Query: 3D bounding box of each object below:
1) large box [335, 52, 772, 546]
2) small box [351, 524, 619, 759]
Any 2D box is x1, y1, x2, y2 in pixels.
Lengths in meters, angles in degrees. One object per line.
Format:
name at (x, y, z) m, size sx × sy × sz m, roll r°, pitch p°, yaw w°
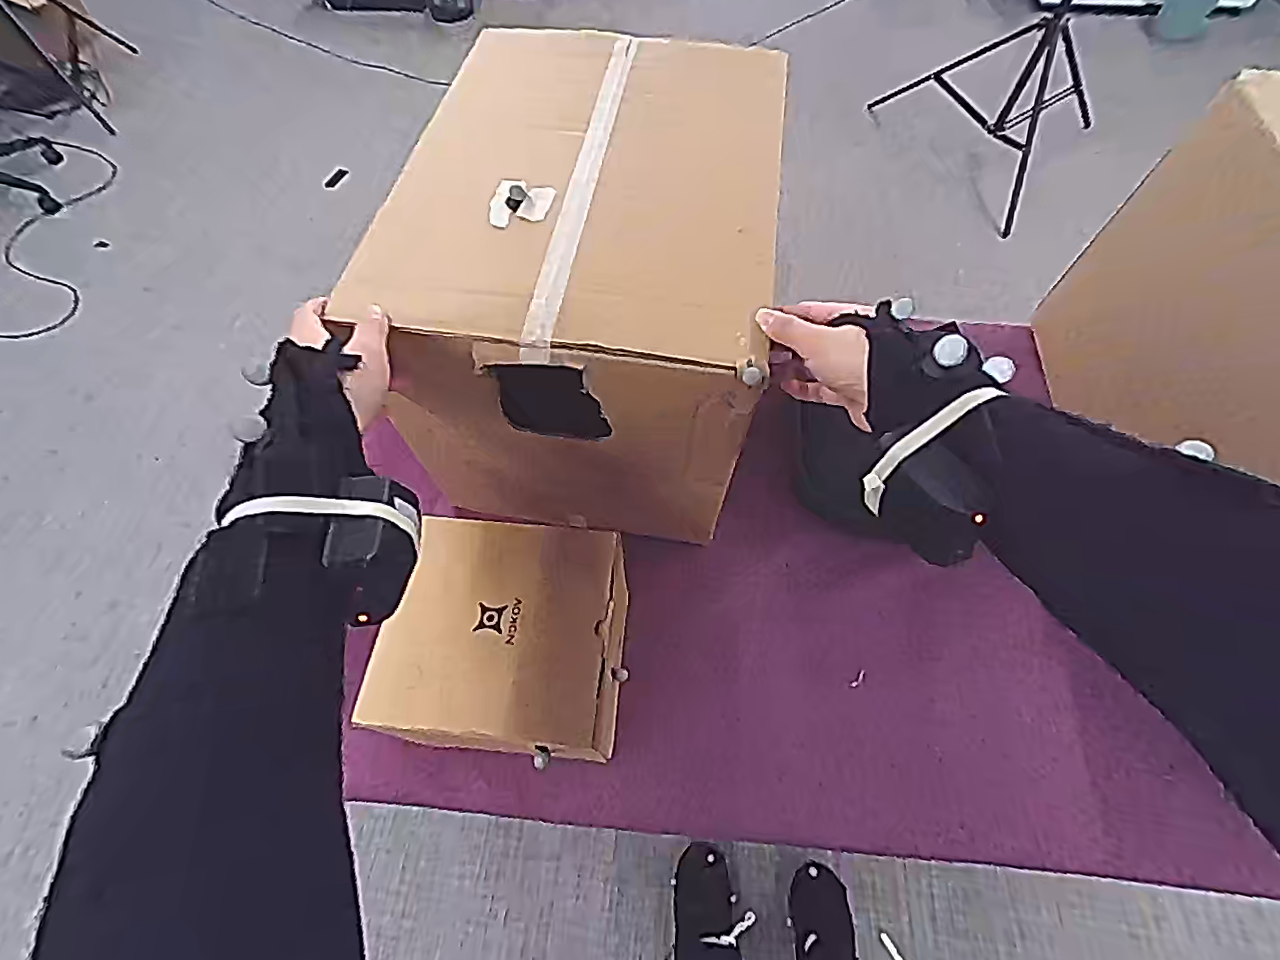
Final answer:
large box at (-0.046, -0.181, 0.597) m, size 0.320 × 0.320 × 0.408 m, roll 7°, pitch 64°, yaw 4°
small box at (-0.116, 0.154, 0.493) m, size 0.179 × 0.176 × 0.168 m, roll 4°, pitch 60°, yaw 2°
